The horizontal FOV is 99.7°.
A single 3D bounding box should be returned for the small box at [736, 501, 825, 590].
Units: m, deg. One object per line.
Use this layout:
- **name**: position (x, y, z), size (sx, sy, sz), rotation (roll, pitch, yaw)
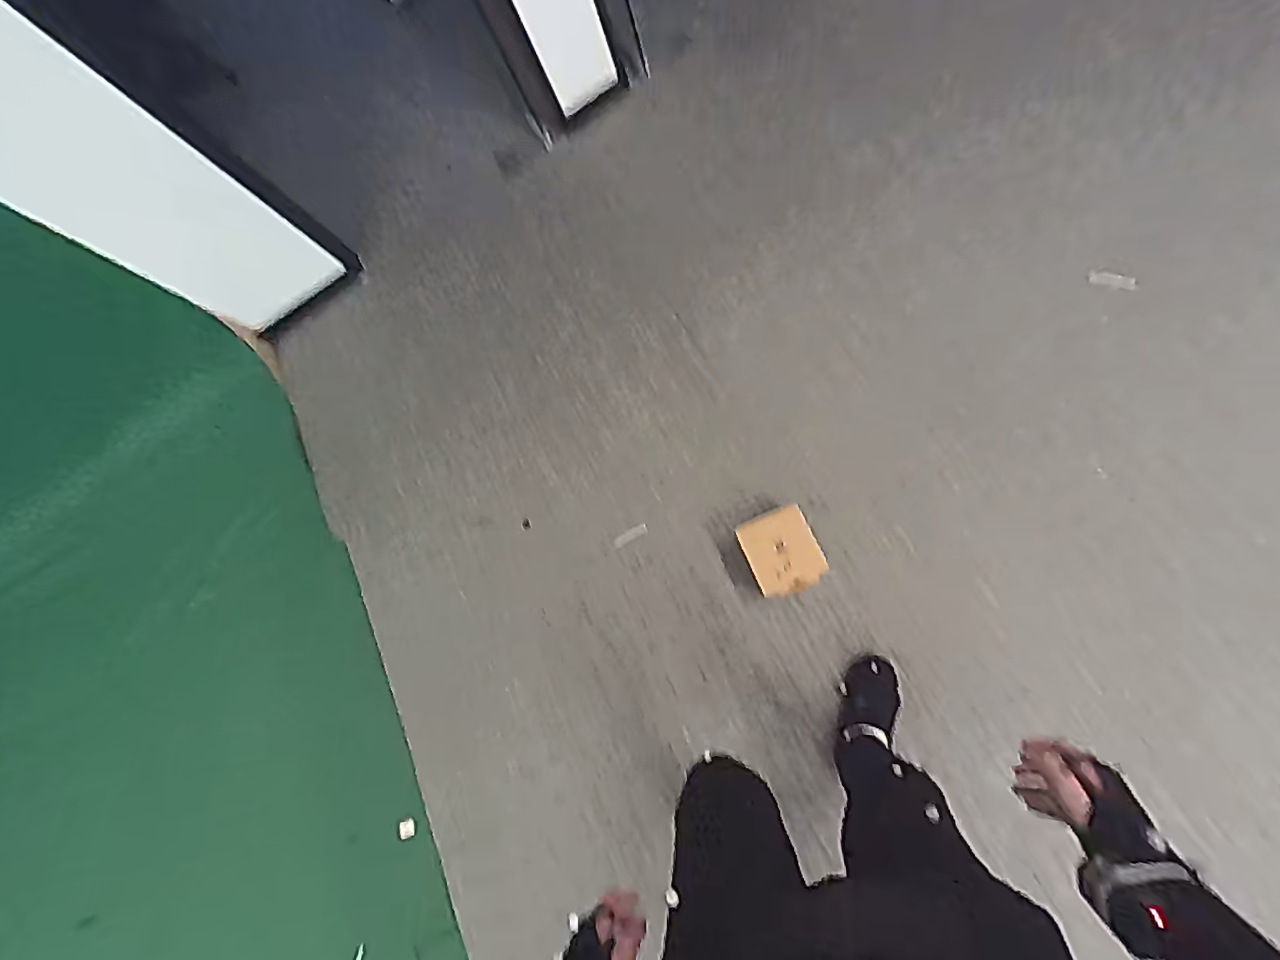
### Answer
- **small box**: position (0.351, 0.171, 1.352), size (0.168, 0.176, 0.179), rotation (-20, 74, 13)
